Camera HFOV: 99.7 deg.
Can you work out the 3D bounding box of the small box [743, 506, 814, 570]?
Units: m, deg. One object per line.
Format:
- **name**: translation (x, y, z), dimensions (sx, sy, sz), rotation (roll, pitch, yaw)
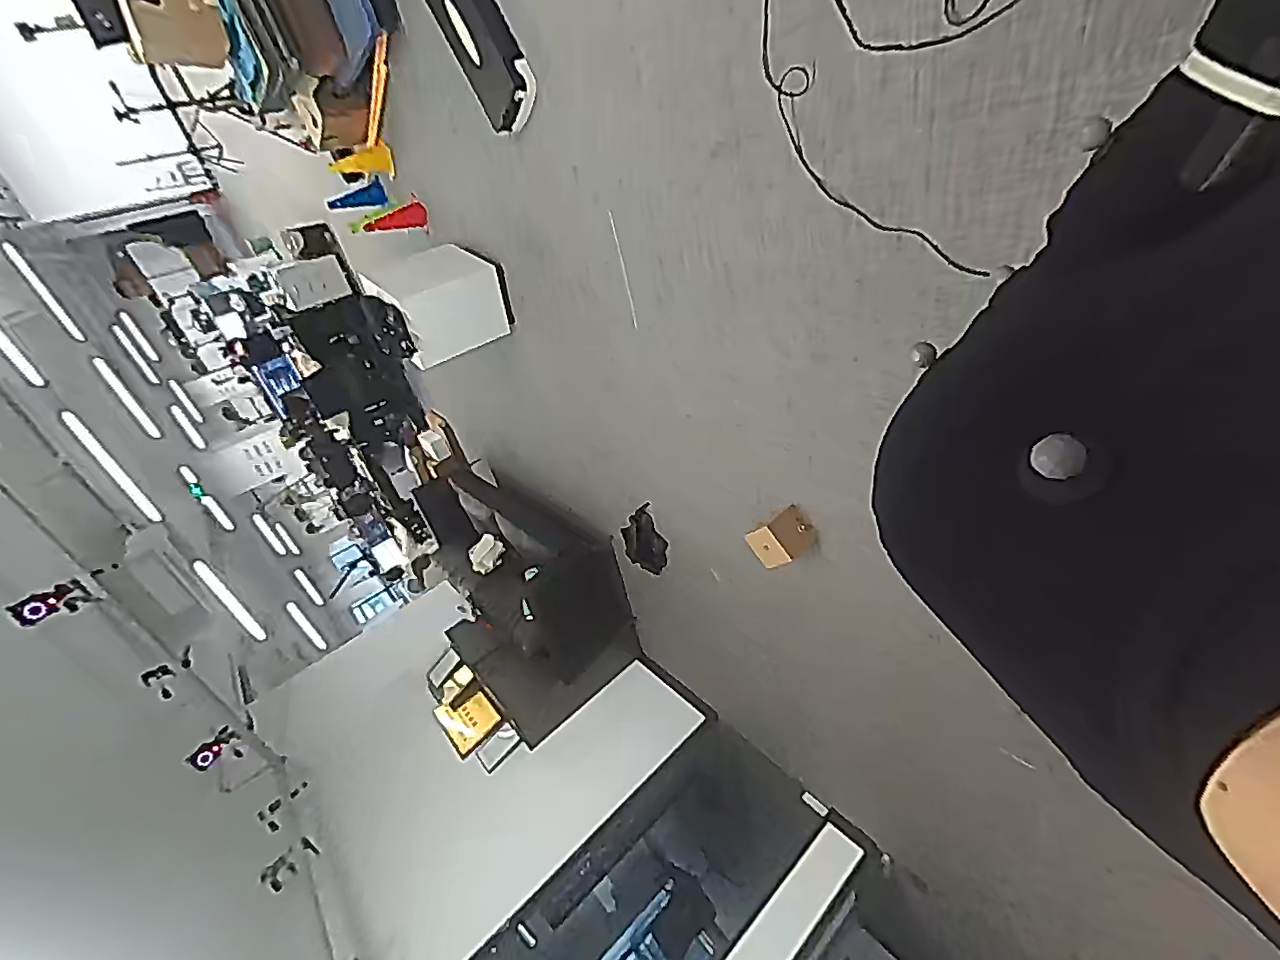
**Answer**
- **small box**: translation (0.549, 0.228, 2.131), dimensions (0.168, 0.176, 0.179), rotation (53, 152, 5)
